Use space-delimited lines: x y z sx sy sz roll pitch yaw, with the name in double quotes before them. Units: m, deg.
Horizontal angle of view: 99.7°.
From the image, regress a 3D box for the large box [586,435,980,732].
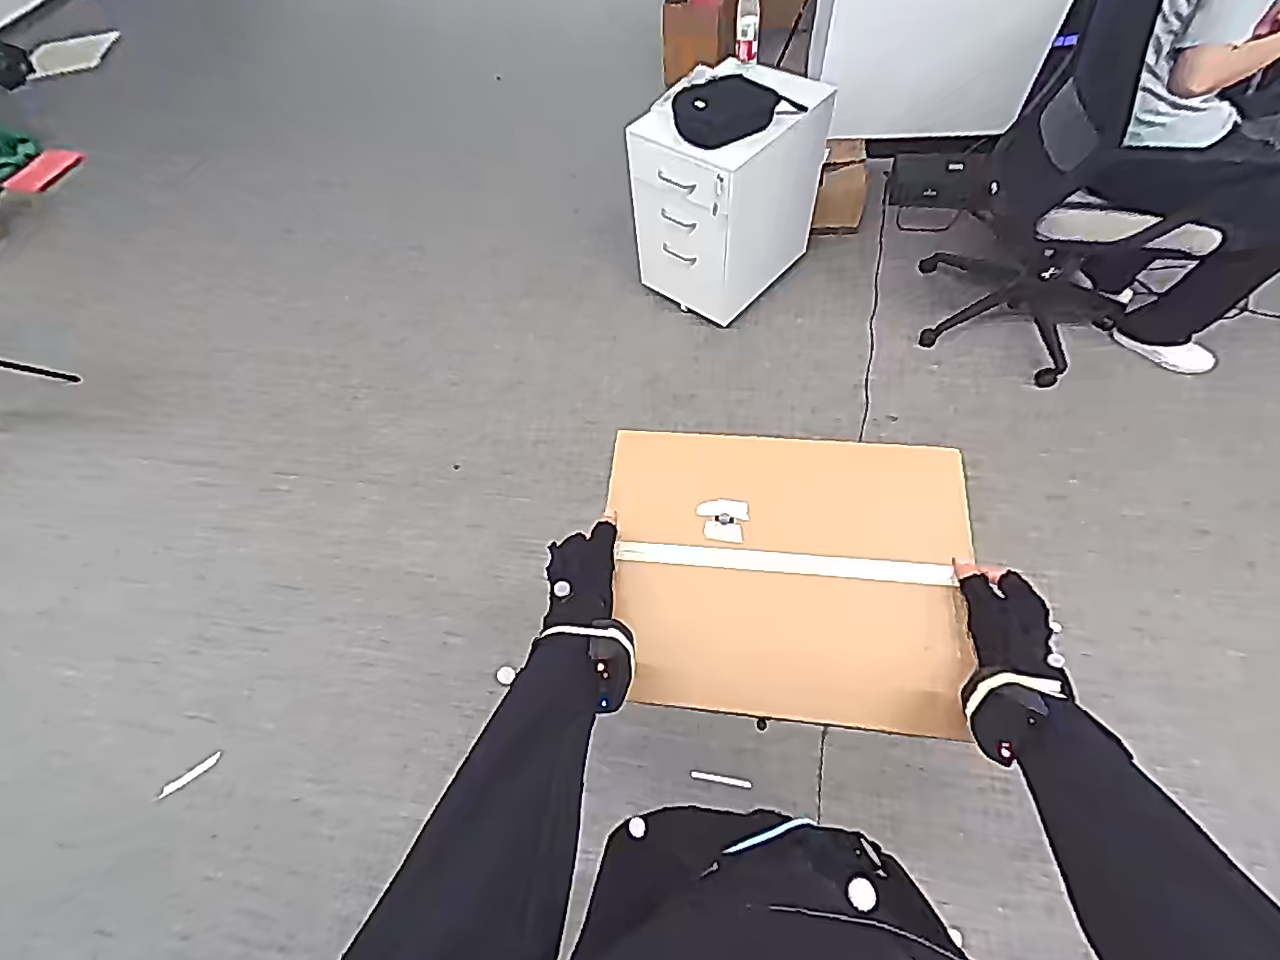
"large box" 0.171 0.149 0.745 0.408 0.320 0.320 4 67 9
